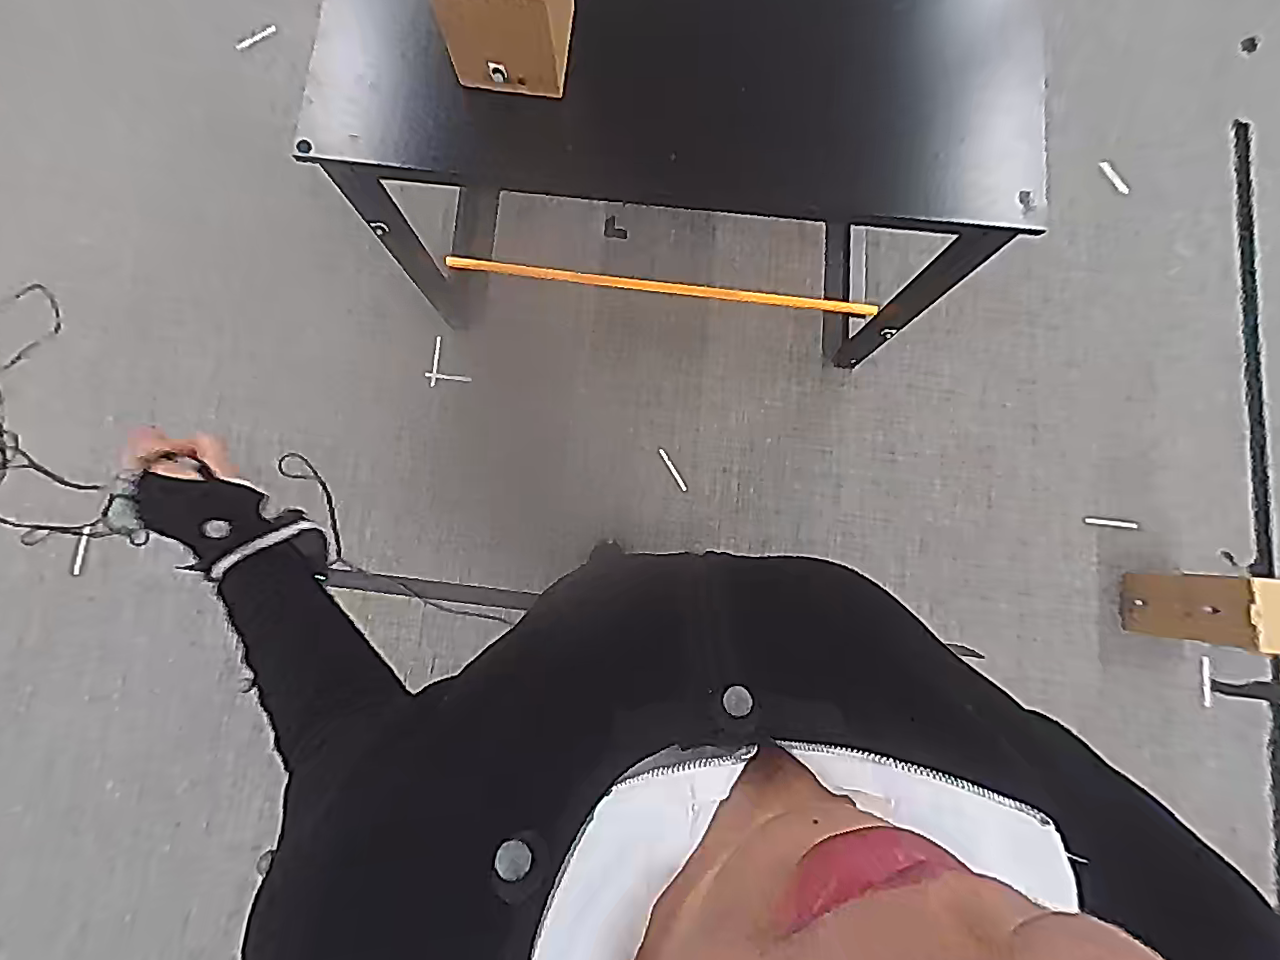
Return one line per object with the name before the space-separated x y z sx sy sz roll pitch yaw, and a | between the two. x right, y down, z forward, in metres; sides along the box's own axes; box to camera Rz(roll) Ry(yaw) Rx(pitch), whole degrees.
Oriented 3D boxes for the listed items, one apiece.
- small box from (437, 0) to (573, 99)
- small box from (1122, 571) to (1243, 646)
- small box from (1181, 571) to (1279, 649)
small box | -0.196 -0.722 0.810 0.168 0.176 0.179 5 83 0
small box | 1.451 0.336 1.446 0.179 0.176 0.168 7 82 0
small box | 1.444 0.308 1.284 0.179 0.176 0.168 5 83 0
